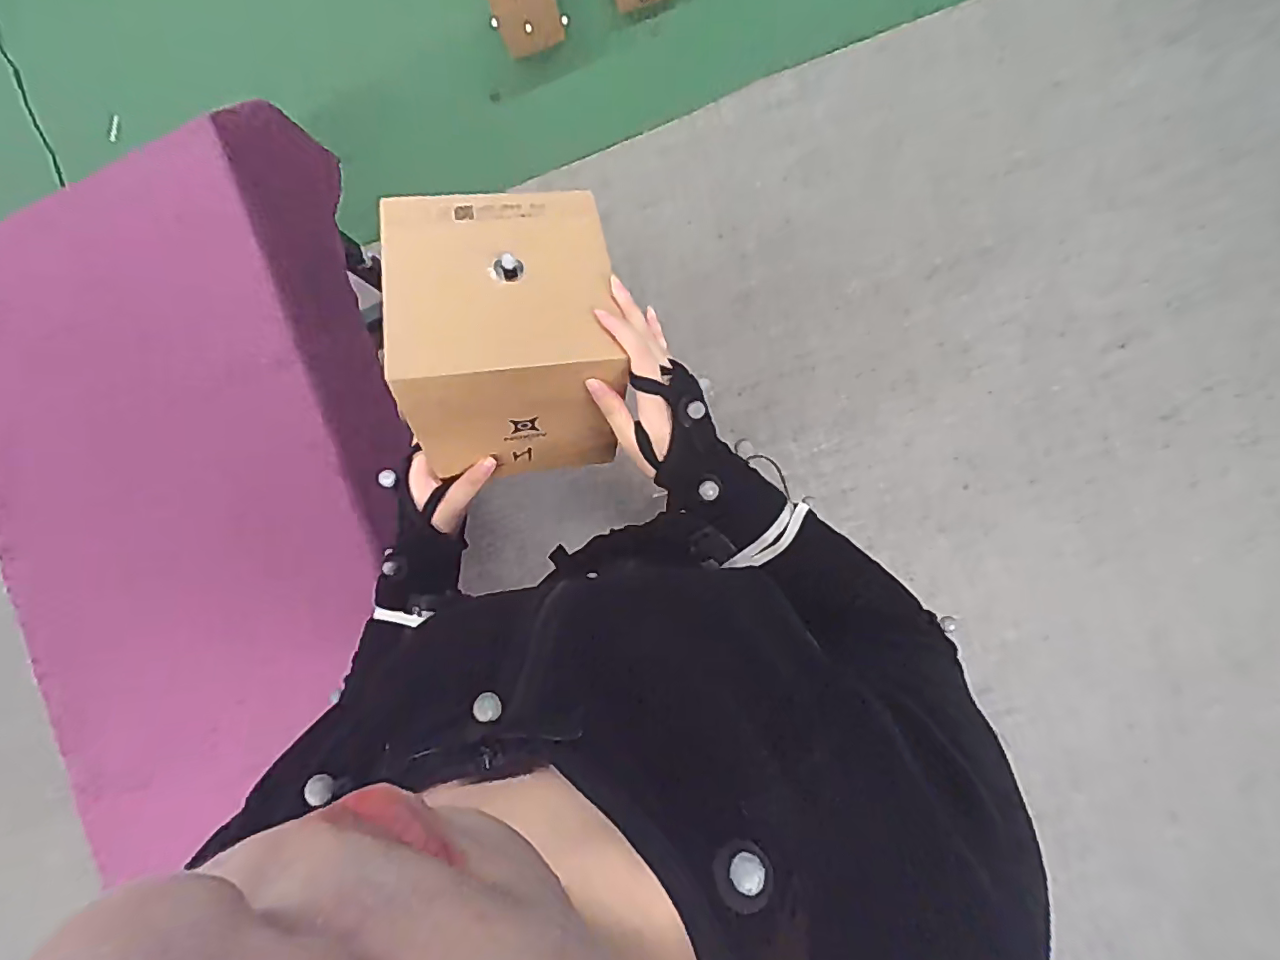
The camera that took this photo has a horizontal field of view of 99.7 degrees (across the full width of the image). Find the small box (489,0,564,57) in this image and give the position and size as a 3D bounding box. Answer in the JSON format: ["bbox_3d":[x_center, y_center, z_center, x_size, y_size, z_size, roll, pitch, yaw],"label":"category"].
[{"bbox_3d":[-0.323,-1.344,1.507,0.179,0.176,0.168,-18,86,6],"label":"small box"}]
